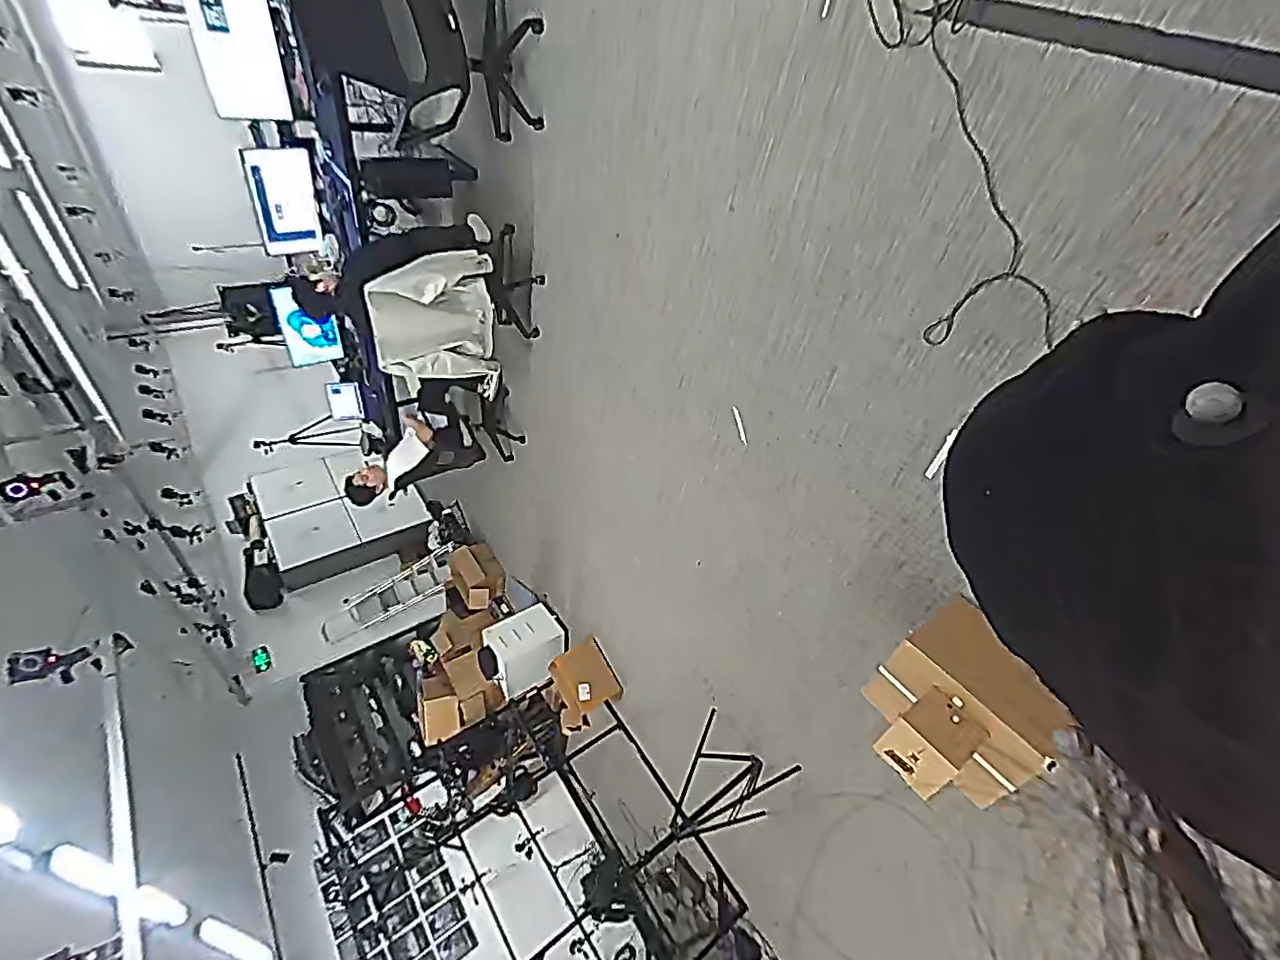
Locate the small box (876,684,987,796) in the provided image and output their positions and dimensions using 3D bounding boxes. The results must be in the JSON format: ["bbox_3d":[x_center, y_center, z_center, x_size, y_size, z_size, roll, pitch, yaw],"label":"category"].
[{"bbox_3d":[0.767,0.679,1.423,0.168,0.176,0.179,44,140,34],"label":"small box"}]
